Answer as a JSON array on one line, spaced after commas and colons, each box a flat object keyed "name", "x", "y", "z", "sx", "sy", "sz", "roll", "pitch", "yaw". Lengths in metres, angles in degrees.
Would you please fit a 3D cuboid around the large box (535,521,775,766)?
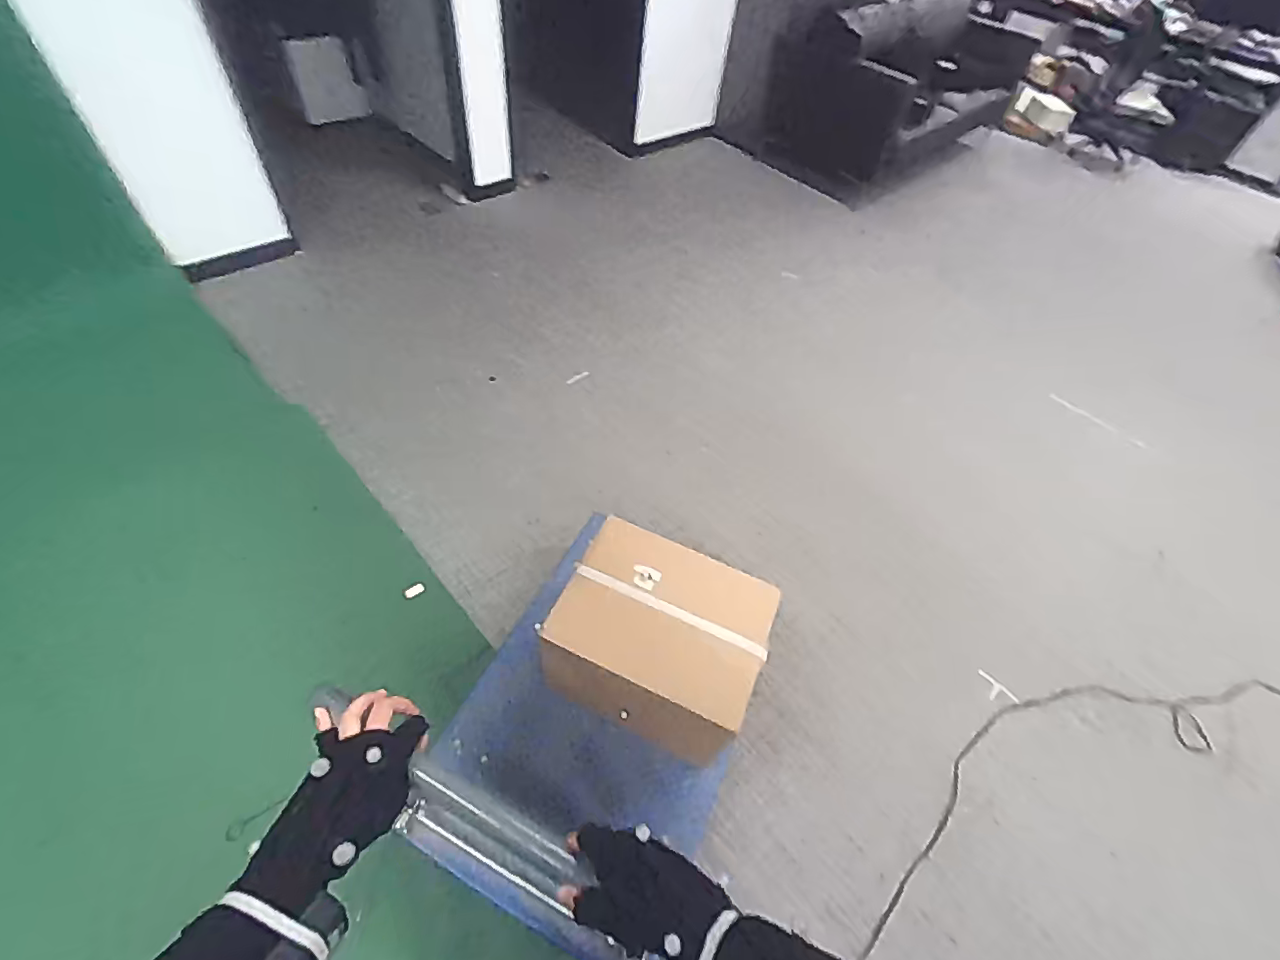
[{"name": "large box", "x": 0.031, "y": 0.359, "z": 1.183, "sx": 0.408, "sy": 0.320, "sz": 0.320, "roll": 22, "pitch": 51, "yaw": 12}]
